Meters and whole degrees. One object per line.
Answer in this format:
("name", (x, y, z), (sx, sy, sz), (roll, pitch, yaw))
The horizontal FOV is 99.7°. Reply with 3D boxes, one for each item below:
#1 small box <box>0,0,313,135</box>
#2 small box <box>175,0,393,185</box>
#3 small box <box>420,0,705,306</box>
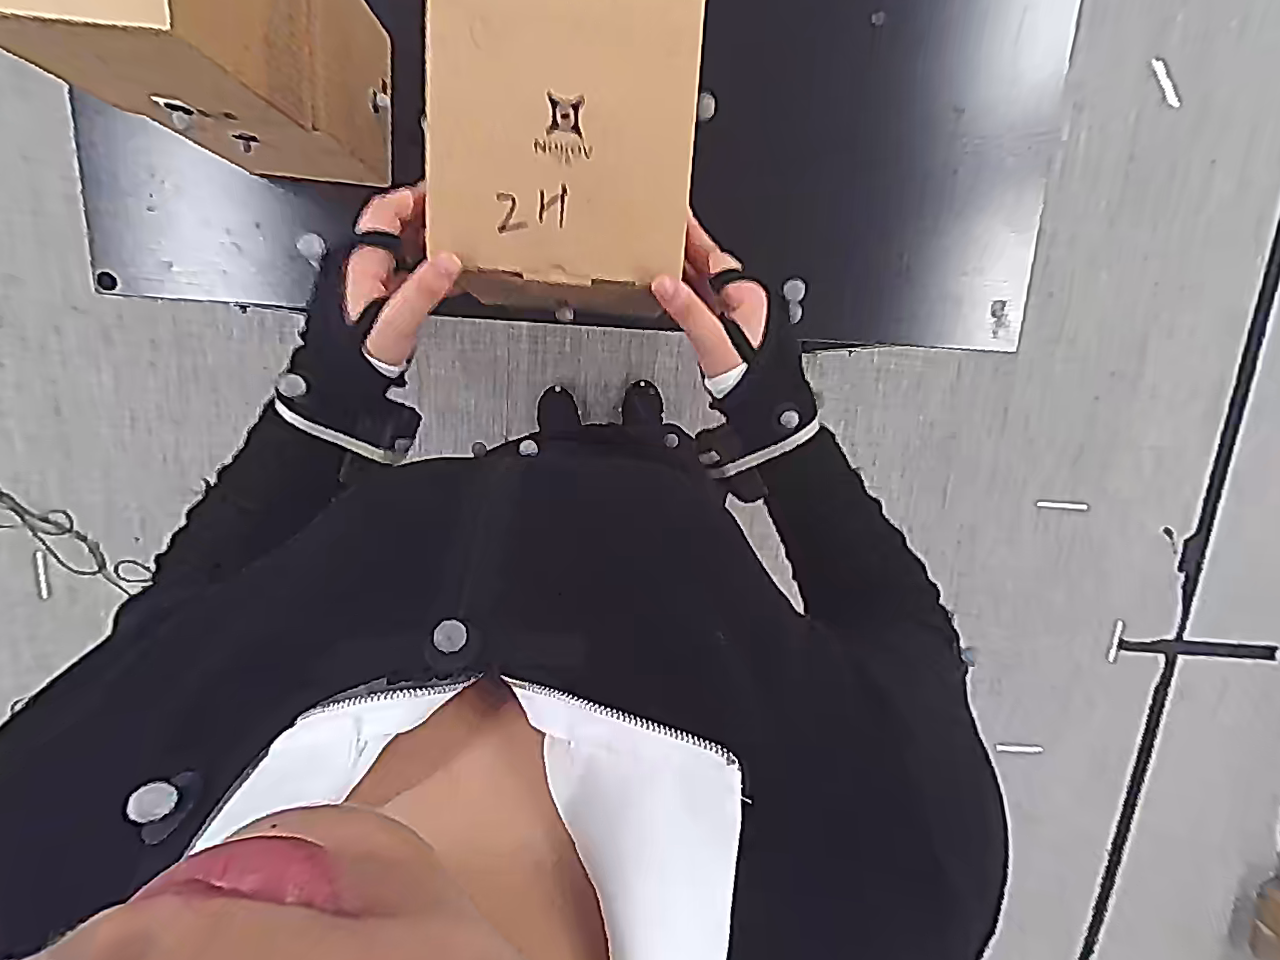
("small box", (-0.381, -0.403, 0.416), (0.168, 0.176, 0.179), (4, 102, -2))
("small box", (-0.386, -0.436, 0.576), (0.179, 0.176, 0.168), (4, 101, -5))
("small box", (-0.055, -0.239, 0.407), (0.168, 0.176, 0.179), (4, 100, -5))
